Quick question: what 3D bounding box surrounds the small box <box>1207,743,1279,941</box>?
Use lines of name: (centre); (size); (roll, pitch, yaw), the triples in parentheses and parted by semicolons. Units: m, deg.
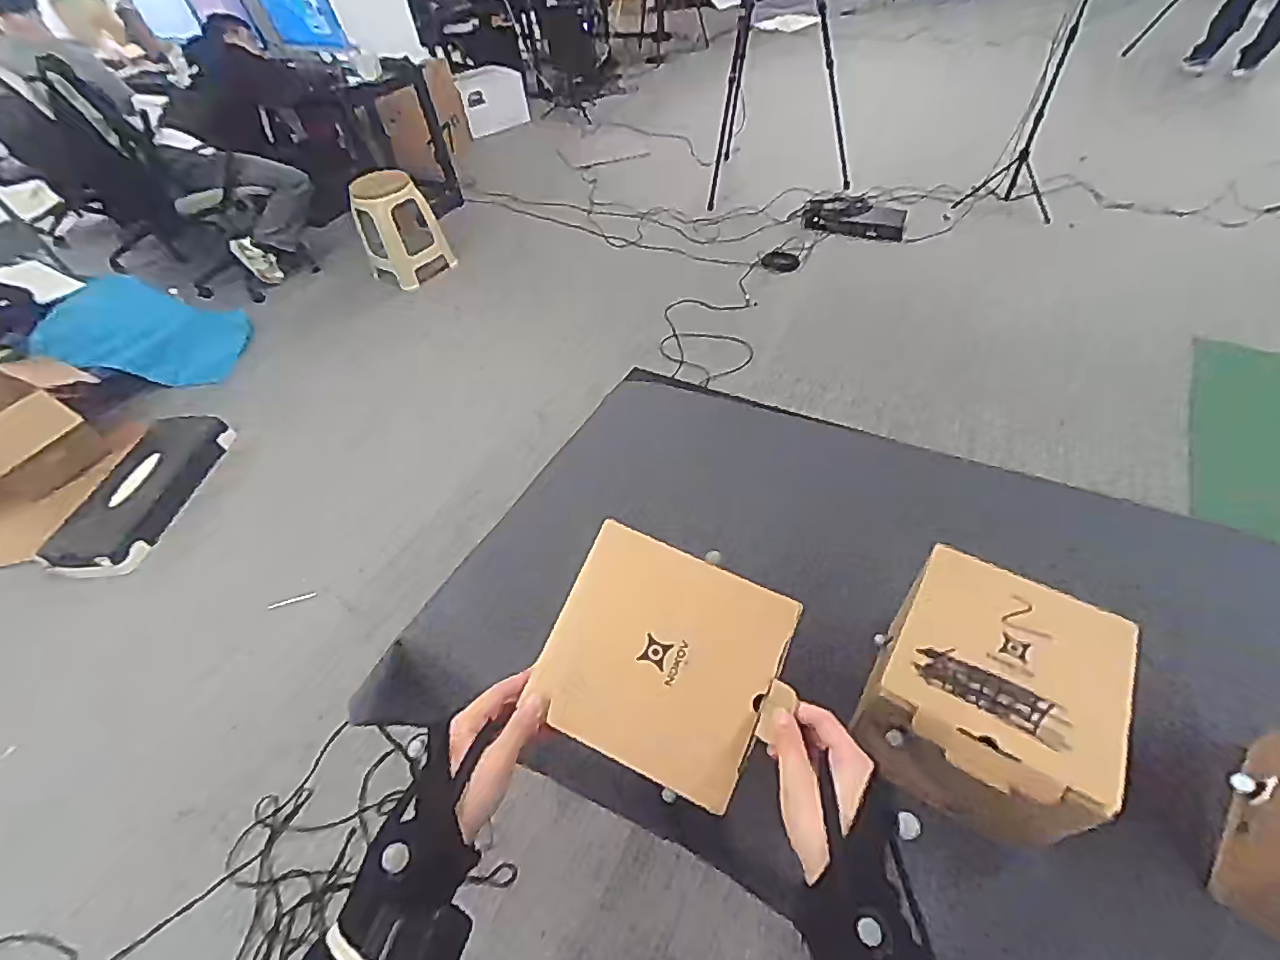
small box: (0.601, 0.300, 0.401); (0.179, 0.176, 0.168); (33, 59, 32)
